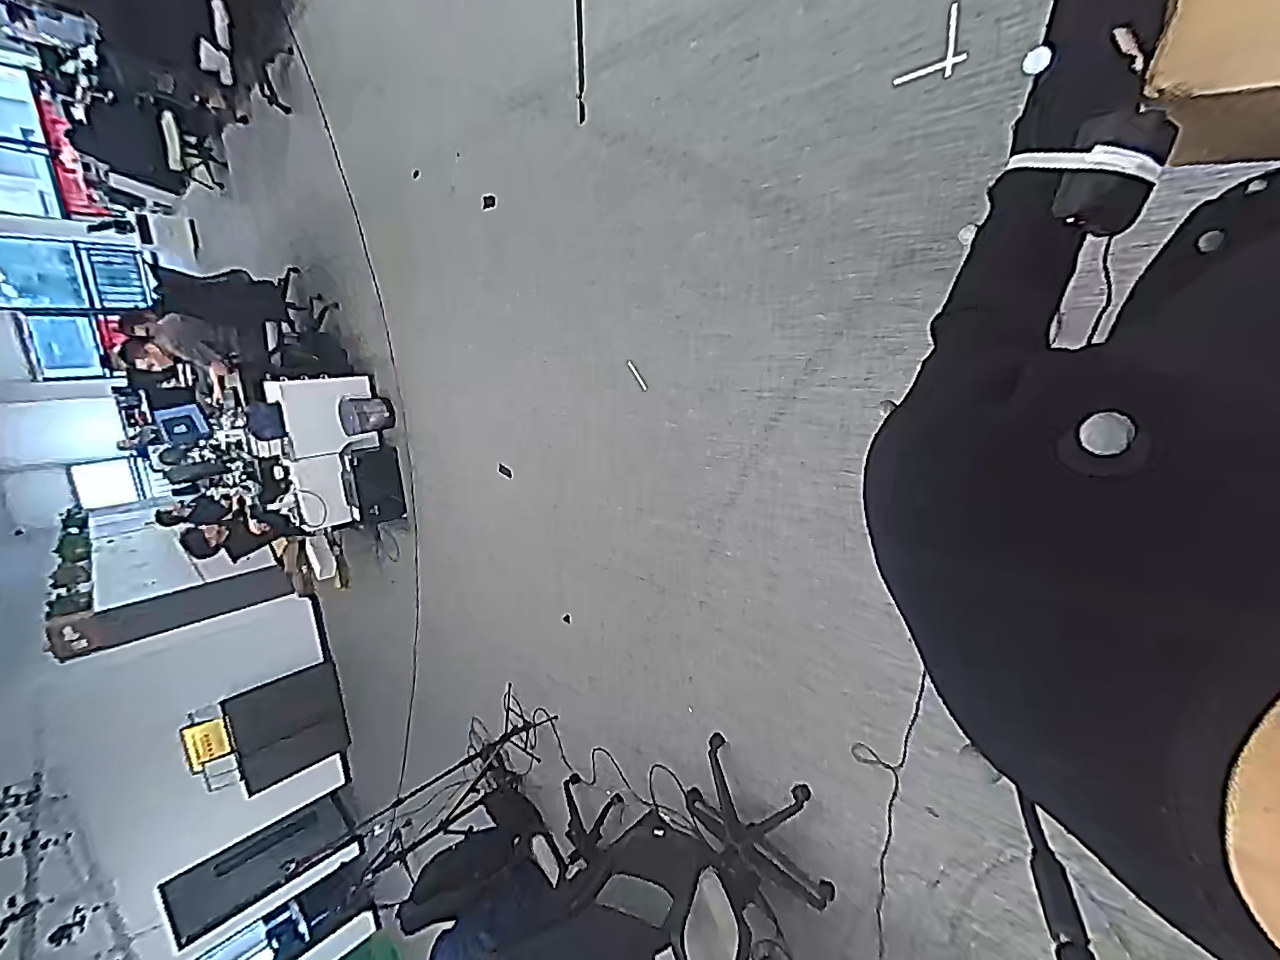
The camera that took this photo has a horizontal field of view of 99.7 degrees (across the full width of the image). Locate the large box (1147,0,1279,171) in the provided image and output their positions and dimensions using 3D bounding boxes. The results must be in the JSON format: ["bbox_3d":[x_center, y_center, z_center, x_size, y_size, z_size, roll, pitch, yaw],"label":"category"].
[{"bbox_3d":[0.590,-0.376,0.286,0.408,0.320,0.320,22,120,40],"label":"large box"}]
